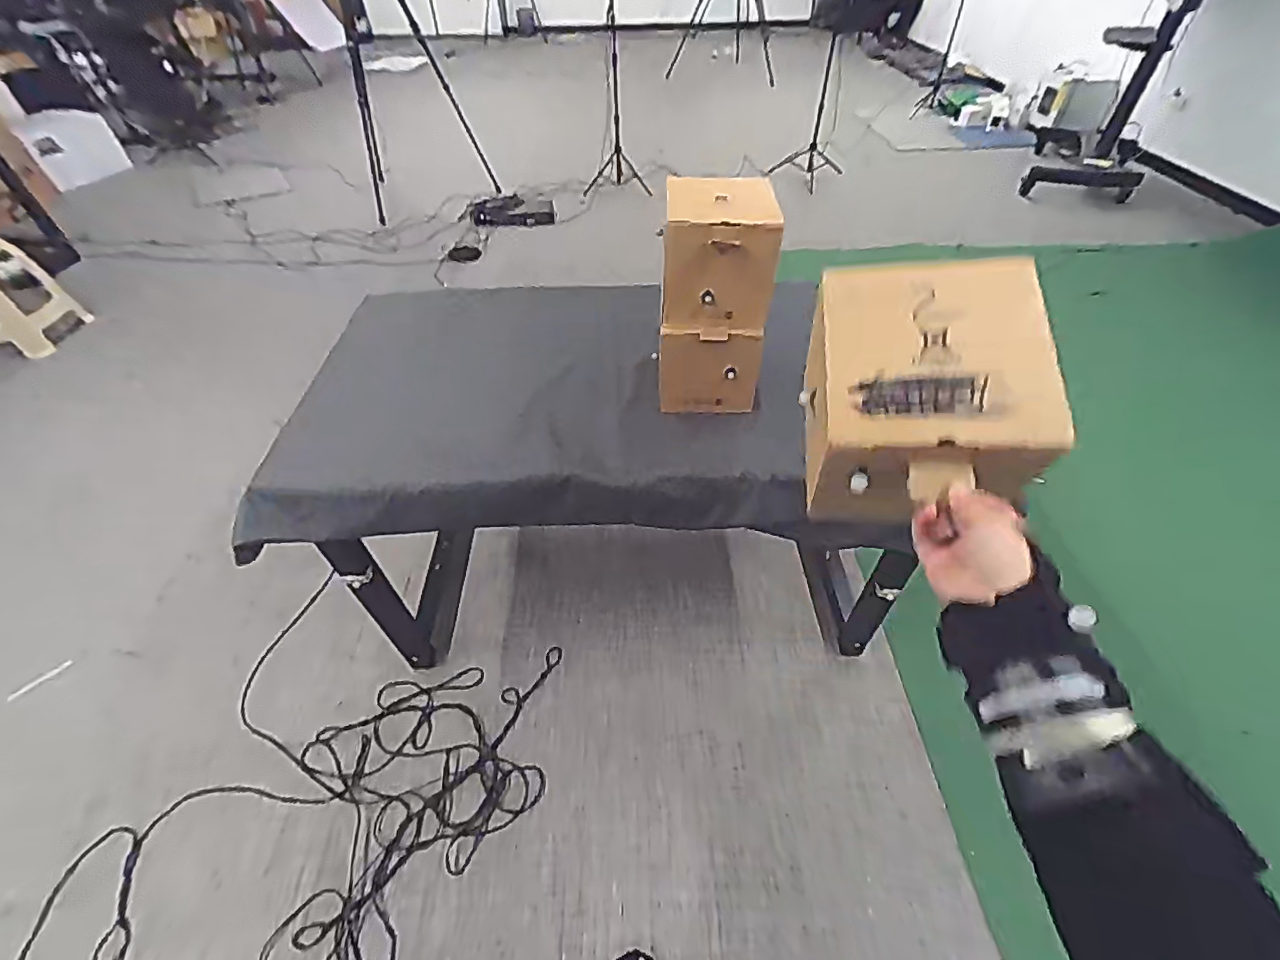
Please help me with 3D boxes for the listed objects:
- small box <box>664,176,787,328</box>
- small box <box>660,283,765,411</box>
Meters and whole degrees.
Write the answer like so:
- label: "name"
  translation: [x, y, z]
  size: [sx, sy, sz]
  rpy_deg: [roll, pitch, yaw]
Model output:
- label: "small box"
  translation: [0.124, -0.359, 0.858]
  size: [0.168, 0.176, 0.179]
  rpy_deg: [2, 48, 1]
- label: "small box"
  translation: [0.121, -0.237, 0.966]
  size: [0.168, 0.176, 0.179]
  rpy_deg: [1, 46, 1]
